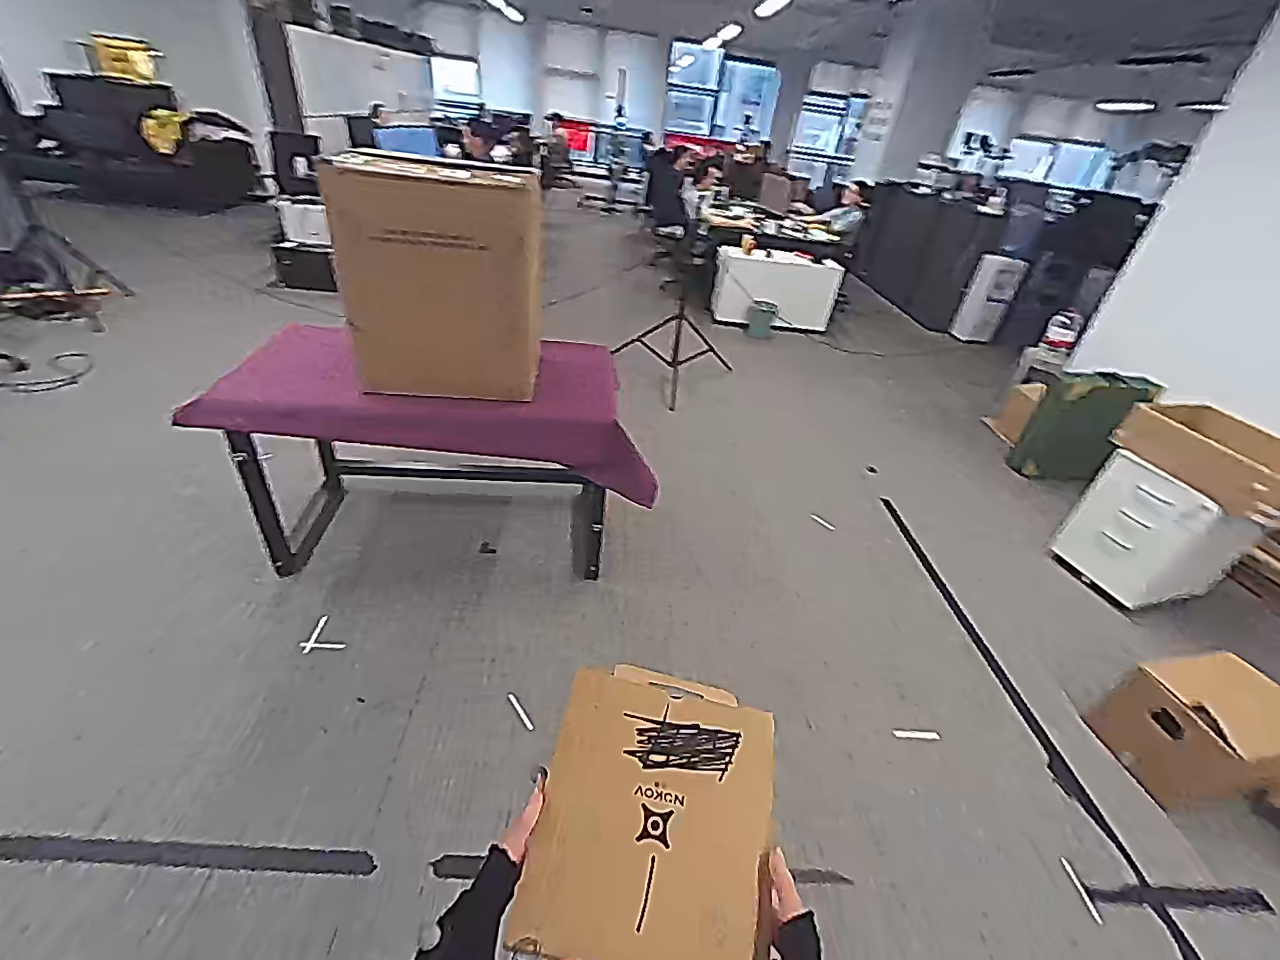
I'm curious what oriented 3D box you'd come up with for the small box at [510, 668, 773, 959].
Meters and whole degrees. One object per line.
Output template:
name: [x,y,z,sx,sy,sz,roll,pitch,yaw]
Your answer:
small box: [0.000,0.284,0.439,0.168,0.176,0.179,13,49,0]
